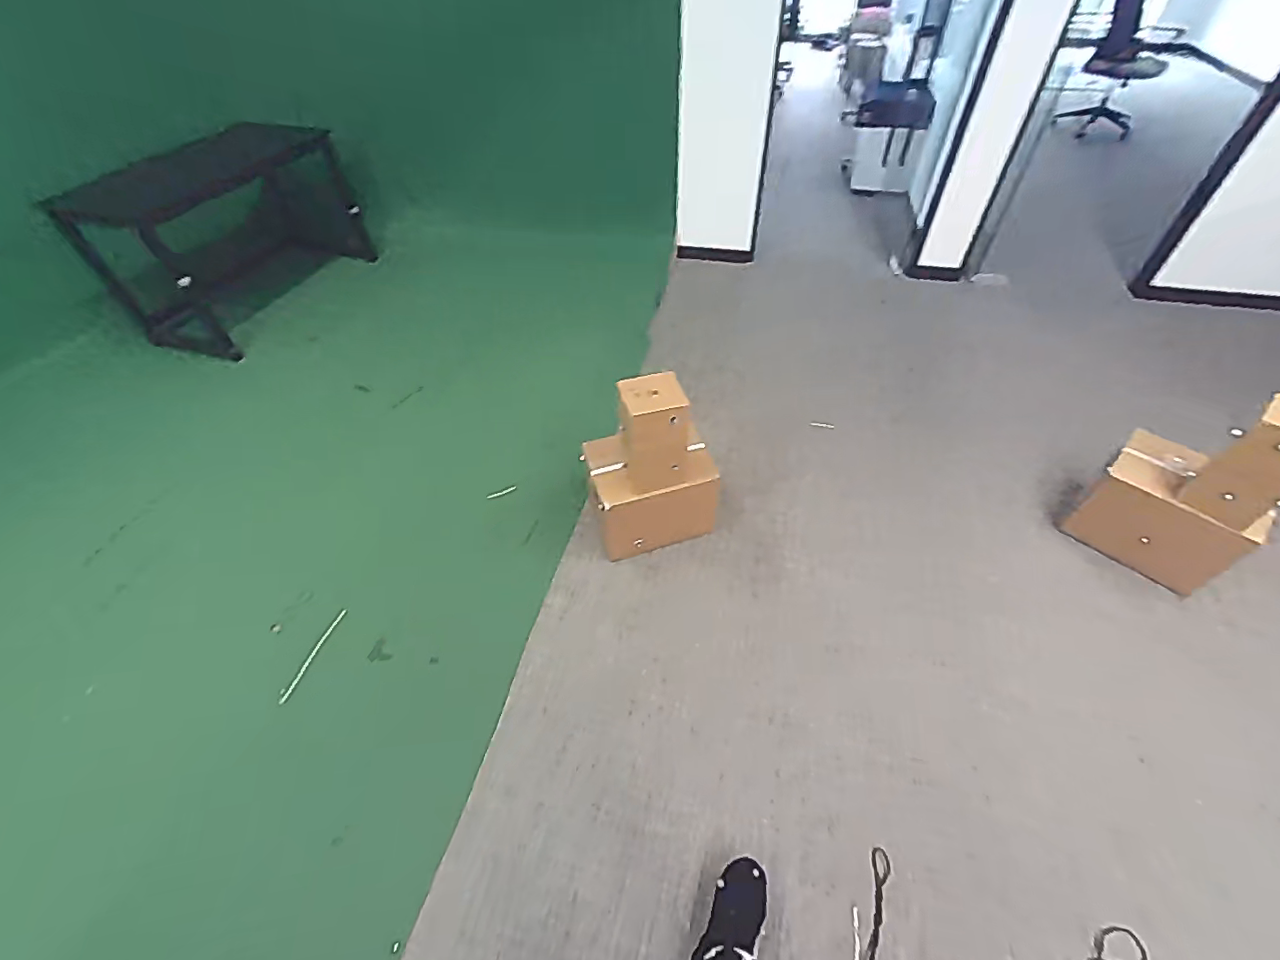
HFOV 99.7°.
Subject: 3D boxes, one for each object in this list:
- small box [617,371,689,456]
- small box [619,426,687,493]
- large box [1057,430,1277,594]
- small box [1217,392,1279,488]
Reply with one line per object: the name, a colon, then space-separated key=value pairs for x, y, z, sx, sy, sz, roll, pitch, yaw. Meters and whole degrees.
small box: x=0.035 y=-0.194 z=1.593 sx=0.179 sy=0.176 sz=0.168 roll=-13 pitch=48 yaw=-9
small box: x=0.039 y=-0.085 z=1.717 sx=0.179 sy=0.176 sz=0.168 roll=-15 pitch=50 yaw=-10
large box: x=1.755 y=0.103 z=1.828 sx=0.320 sy=0.320 sz=0.408 roll=-36 pitch=56 yaw=-28
small box: x=1.749 y=-0.102 z=1.463 sx=0.168 sy=0.176 sz=0.179 roll=-34 pitch=54 yaw=-24
